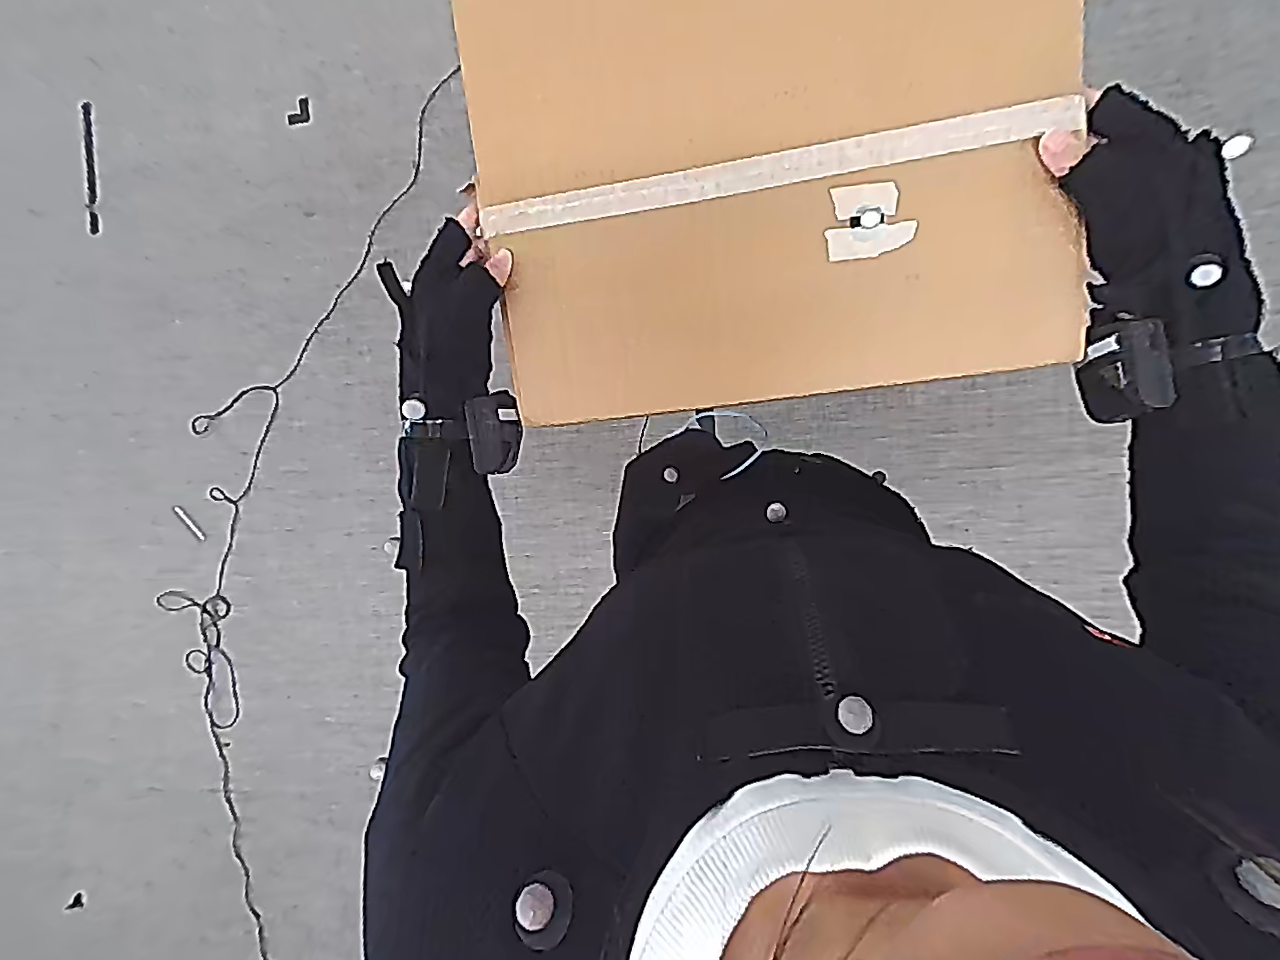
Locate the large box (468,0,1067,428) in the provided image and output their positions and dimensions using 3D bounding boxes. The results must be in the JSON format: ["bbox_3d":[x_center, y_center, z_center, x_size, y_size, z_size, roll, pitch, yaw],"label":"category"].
[{"bbox_3d":[0.104,-0.240,0.536,0.408,0.320,0.320,-7,99,8],"label":"large box"}]
